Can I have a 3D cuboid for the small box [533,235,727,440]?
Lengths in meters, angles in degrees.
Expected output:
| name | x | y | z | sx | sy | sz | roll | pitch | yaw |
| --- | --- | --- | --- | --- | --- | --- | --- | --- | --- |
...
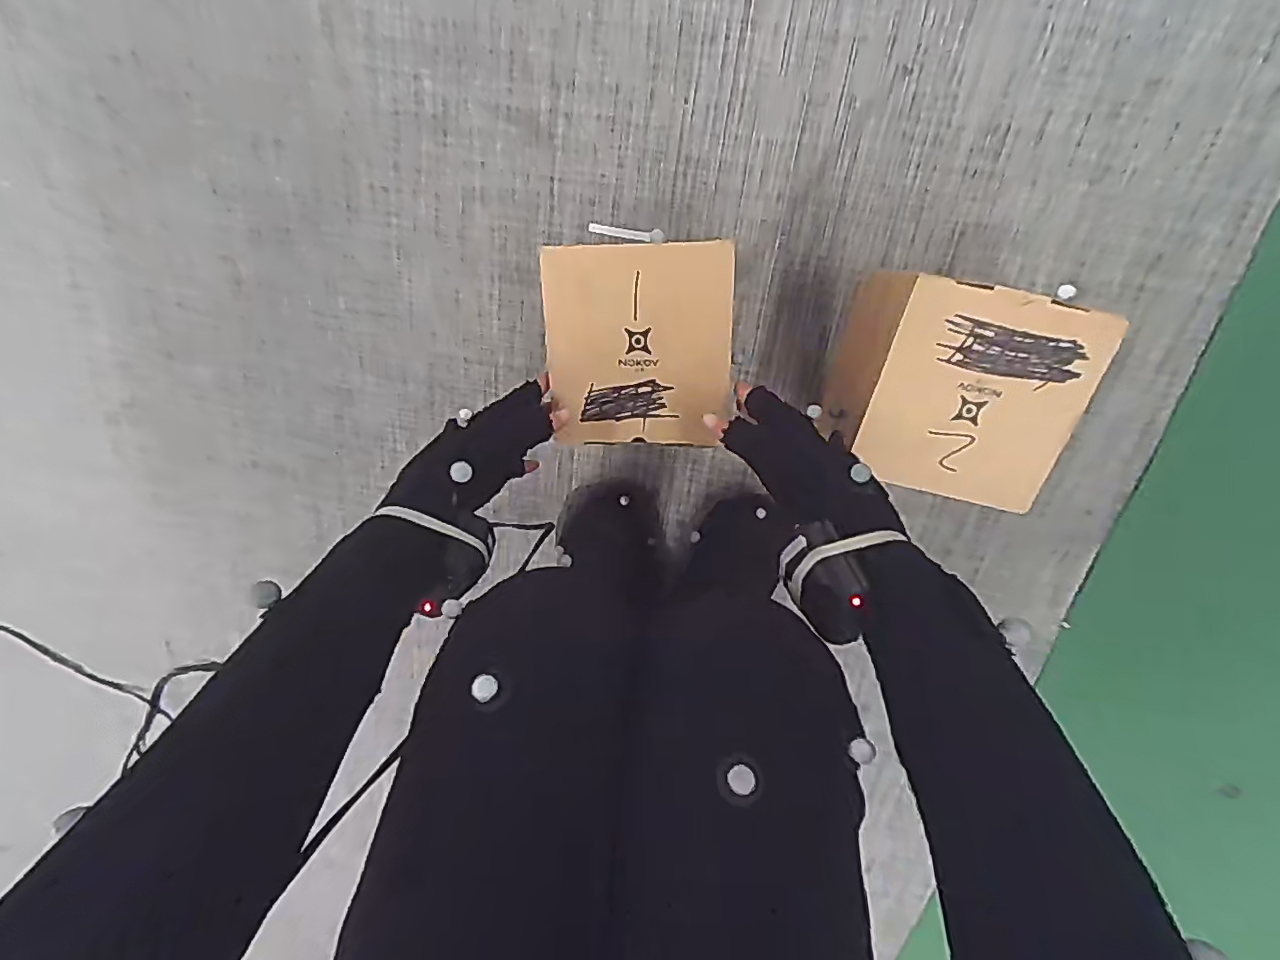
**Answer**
| name | x | y | z | sx | sy | sz | roll | pitch | yaw |
| --- | --- | --- | --- | --- | --- | --- | --- | --- | --- |
| small box | 0.002 | -0.149 | 0.549 | 0.168 | 0.176 | 0.179 | 1 | 111 | 8 |
